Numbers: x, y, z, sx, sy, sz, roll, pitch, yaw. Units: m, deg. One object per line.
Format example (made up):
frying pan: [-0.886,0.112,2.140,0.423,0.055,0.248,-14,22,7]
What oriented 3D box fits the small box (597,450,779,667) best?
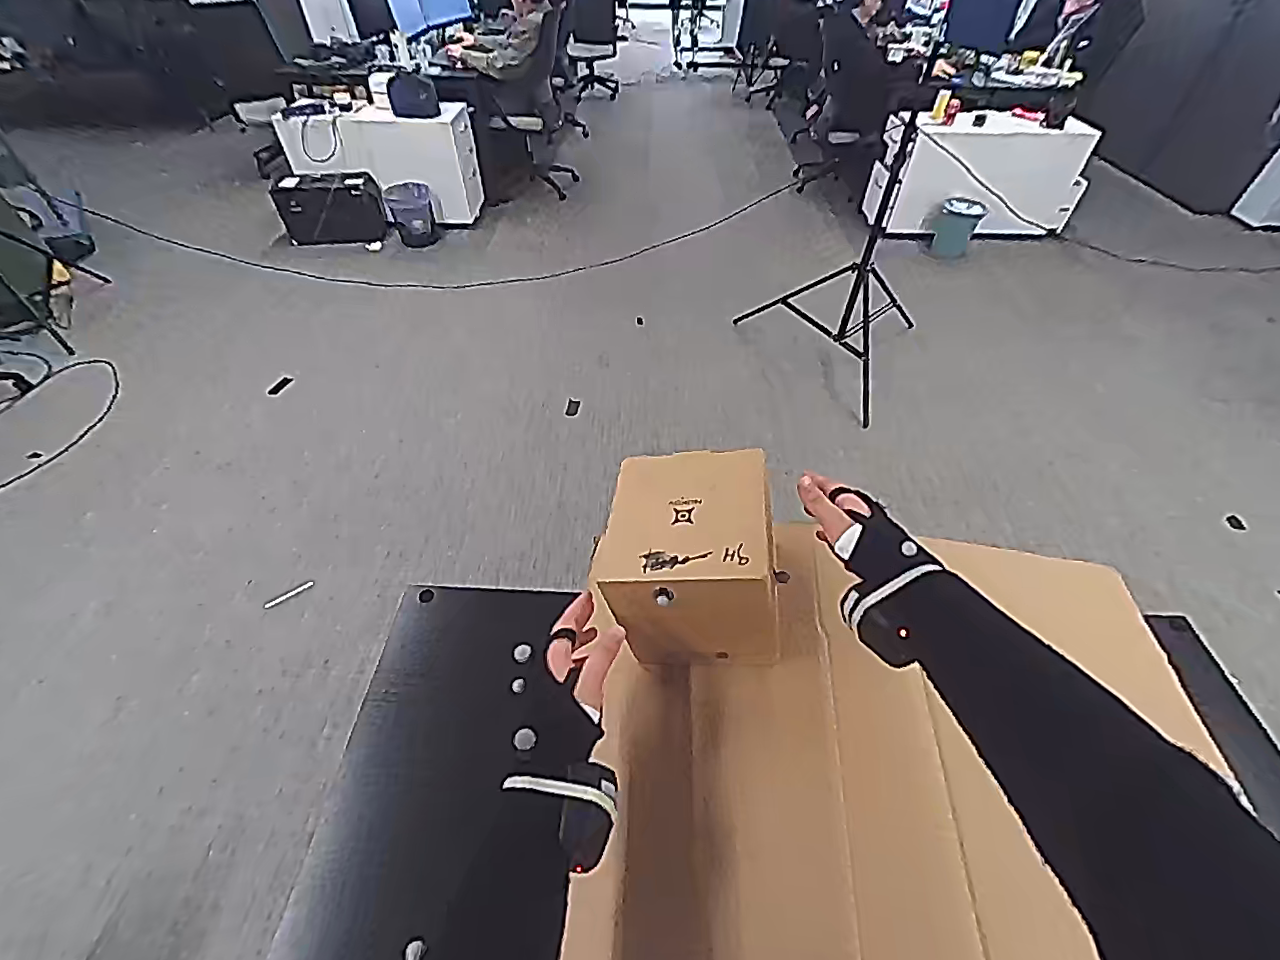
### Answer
small box: [0.067,0.089,0.614,0.168,0.176,0.179,-4,44,16]
